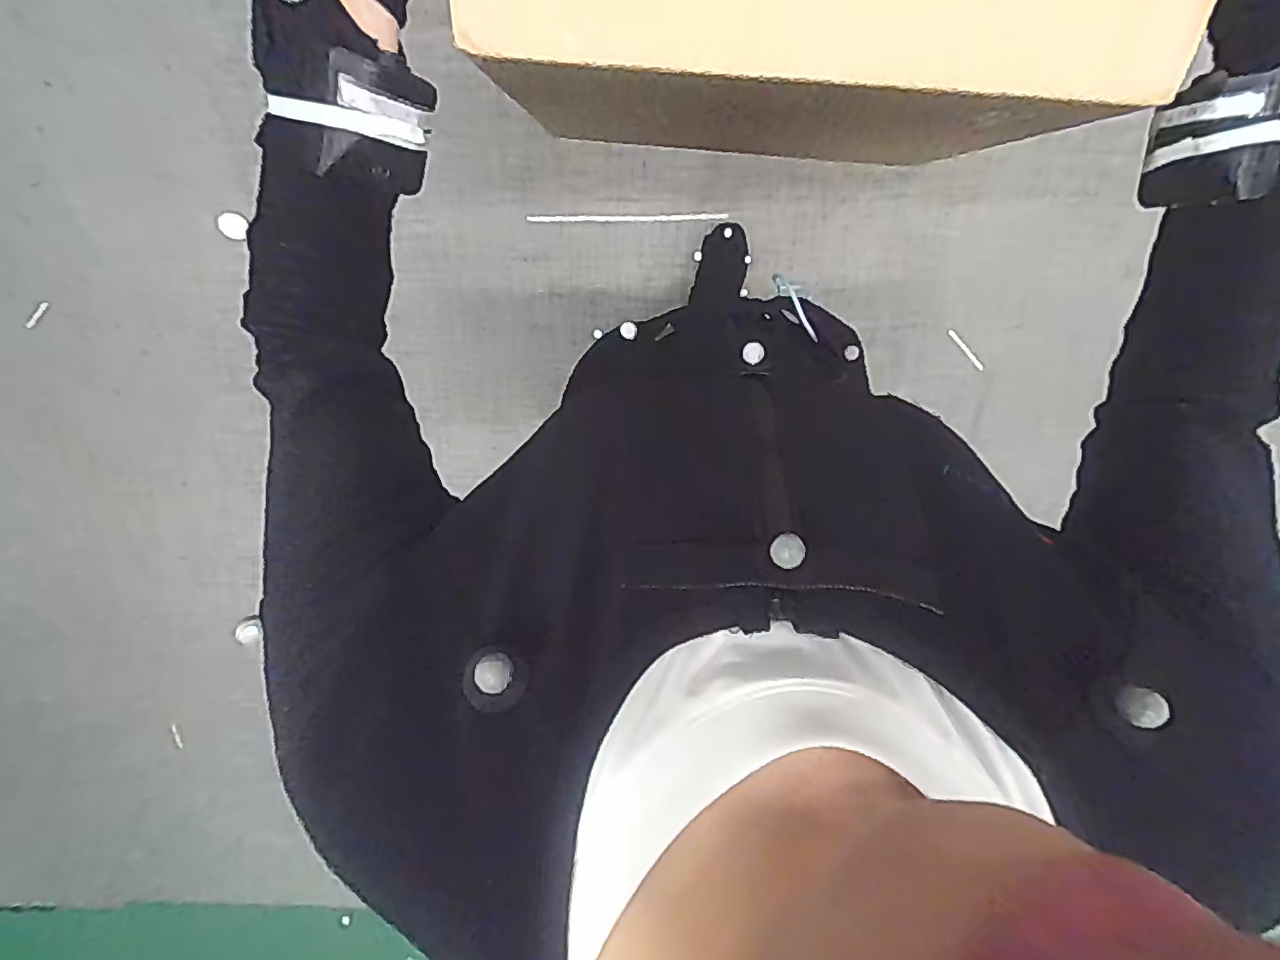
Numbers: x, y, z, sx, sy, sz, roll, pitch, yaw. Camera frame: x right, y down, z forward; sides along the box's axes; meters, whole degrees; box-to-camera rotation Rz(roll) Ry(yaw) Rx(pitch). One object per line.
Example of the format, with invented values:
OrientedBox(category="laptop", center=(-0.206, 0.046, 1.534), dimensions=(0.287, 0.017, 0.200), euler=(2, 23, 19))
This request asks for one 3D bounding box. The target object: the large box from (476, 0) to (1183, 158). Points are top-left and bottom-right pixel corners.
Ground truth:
OrientedBox(category="large box", center=(0.110, -0.436, 0.390), dimensions=(0.408, 0.320, 0.320), euler=(3, 115, 0))
